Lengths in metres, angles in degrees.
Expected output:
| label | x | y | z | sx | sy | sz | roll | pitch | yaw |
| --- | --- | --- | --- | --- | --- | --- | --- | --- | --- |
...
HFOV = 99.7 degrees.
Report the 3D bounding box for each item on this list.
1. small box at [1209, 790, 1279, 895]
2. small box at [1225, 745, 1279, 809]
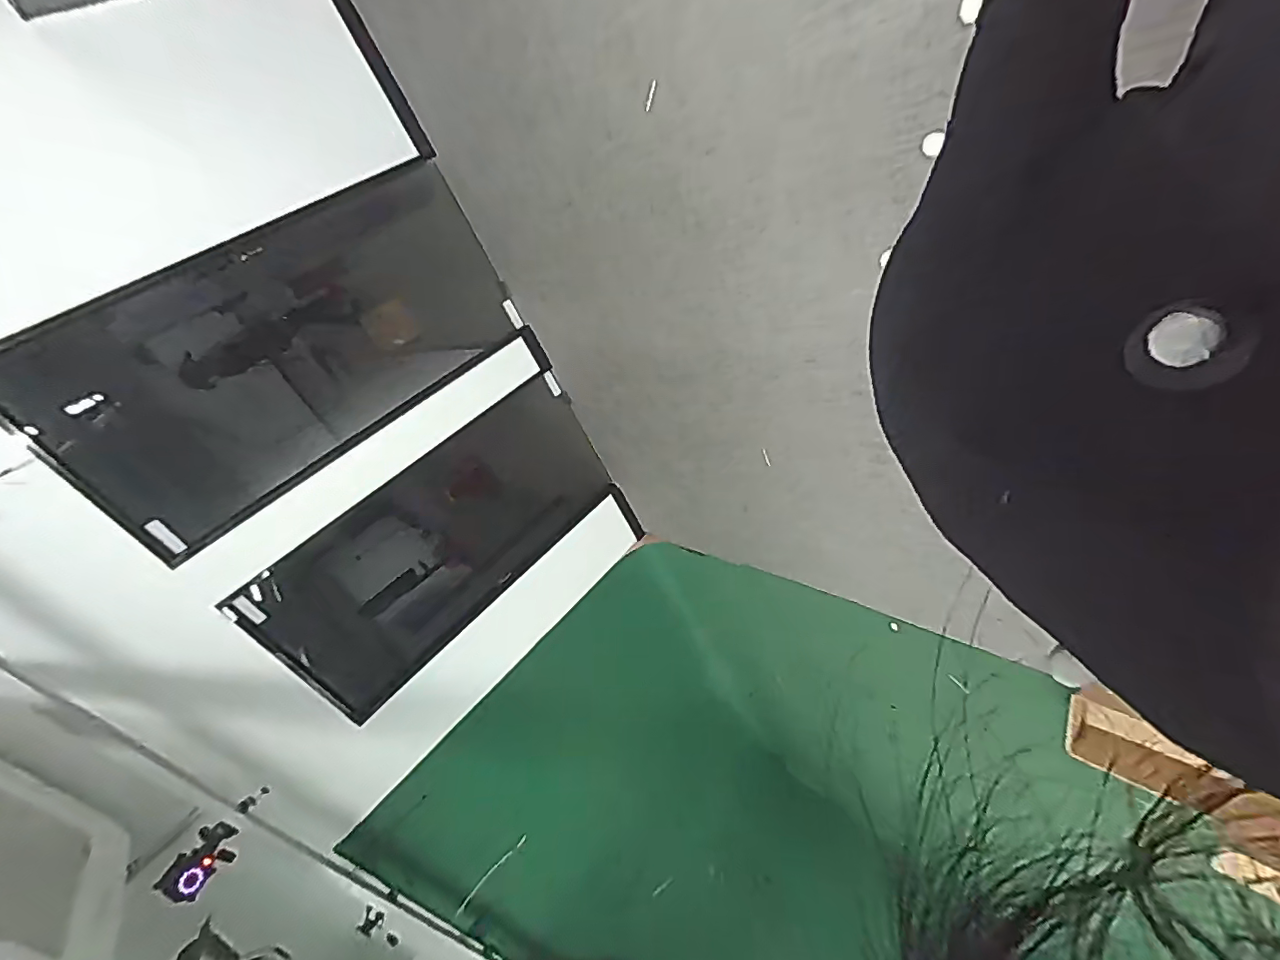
| label | x | y | z | sx | sy | sz | roll | pitch | yaw |
| --- | --- | --- | --- | --- | --- | --- | --- | --- | --- |
| small box | 1.758 | 1.021 | 1.519 | 0.179 | 0.176 | 0.168 | 18 | 141 | 48 |
| small box | 1.869 | 0.928 | 1.596 | 0.168 | 0.176 | 0.179 | 17 | 141 | 48 |
